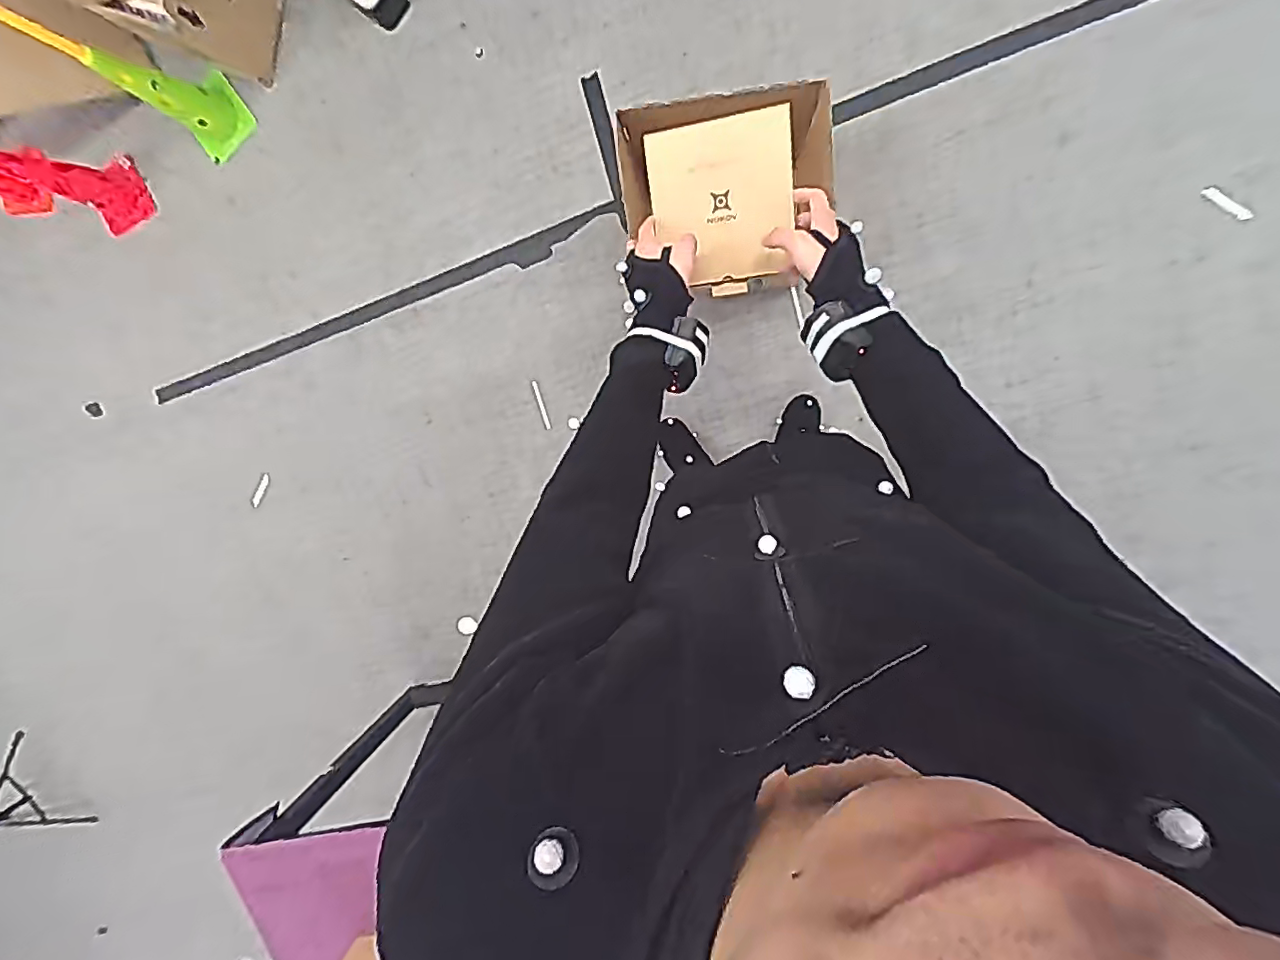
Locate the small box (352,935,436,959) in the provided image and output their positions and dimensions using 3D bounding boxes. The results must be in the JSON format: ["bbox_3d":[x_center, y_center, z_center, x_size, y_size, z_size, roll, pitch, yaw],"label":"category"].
[{"bbox_3d":[-0.541,1.111,1.137,0.179,0.176,0.168,-17,99,12],"label":"small box"}]

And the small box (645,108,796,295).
[{"bbox_3d":[0.111,-0.347,0.701,0.168,0.176,0.179,-4,111,13],"label":"small box"}]
